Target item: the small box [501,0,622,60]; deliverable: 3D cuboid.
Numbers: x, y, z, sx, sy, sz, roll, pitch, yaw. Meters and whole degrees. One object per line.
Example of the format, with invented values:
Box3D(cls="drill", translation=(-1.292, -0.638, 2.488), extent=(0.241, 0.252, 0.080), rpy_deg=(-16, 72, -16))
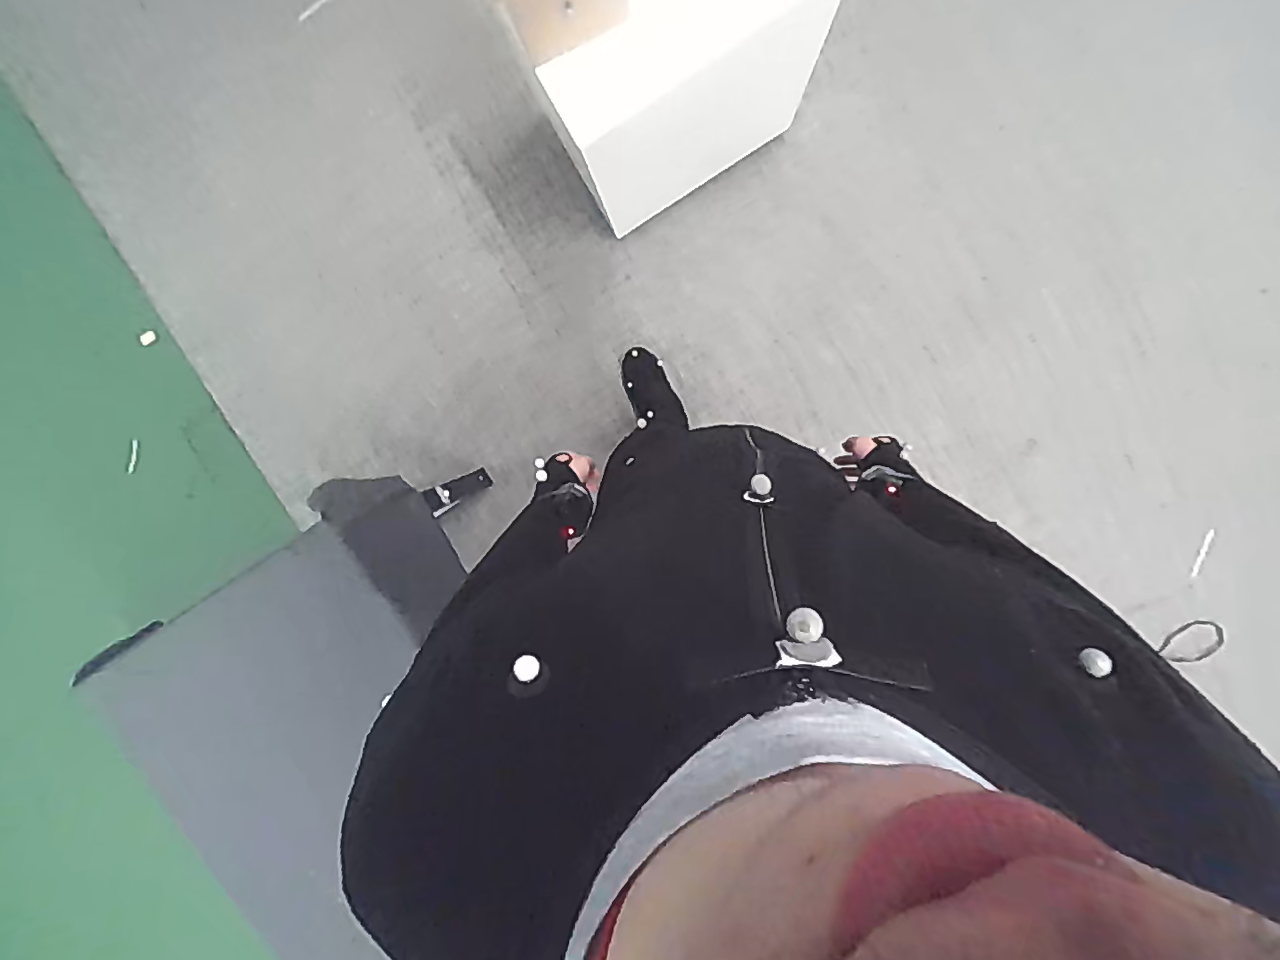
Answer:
Box3D(cls="small box", translation=(-0.129, -0.745, 0.749), extent=(0.179, 0.176, 0.168), rpy_deg=(-22, 97, 6))
